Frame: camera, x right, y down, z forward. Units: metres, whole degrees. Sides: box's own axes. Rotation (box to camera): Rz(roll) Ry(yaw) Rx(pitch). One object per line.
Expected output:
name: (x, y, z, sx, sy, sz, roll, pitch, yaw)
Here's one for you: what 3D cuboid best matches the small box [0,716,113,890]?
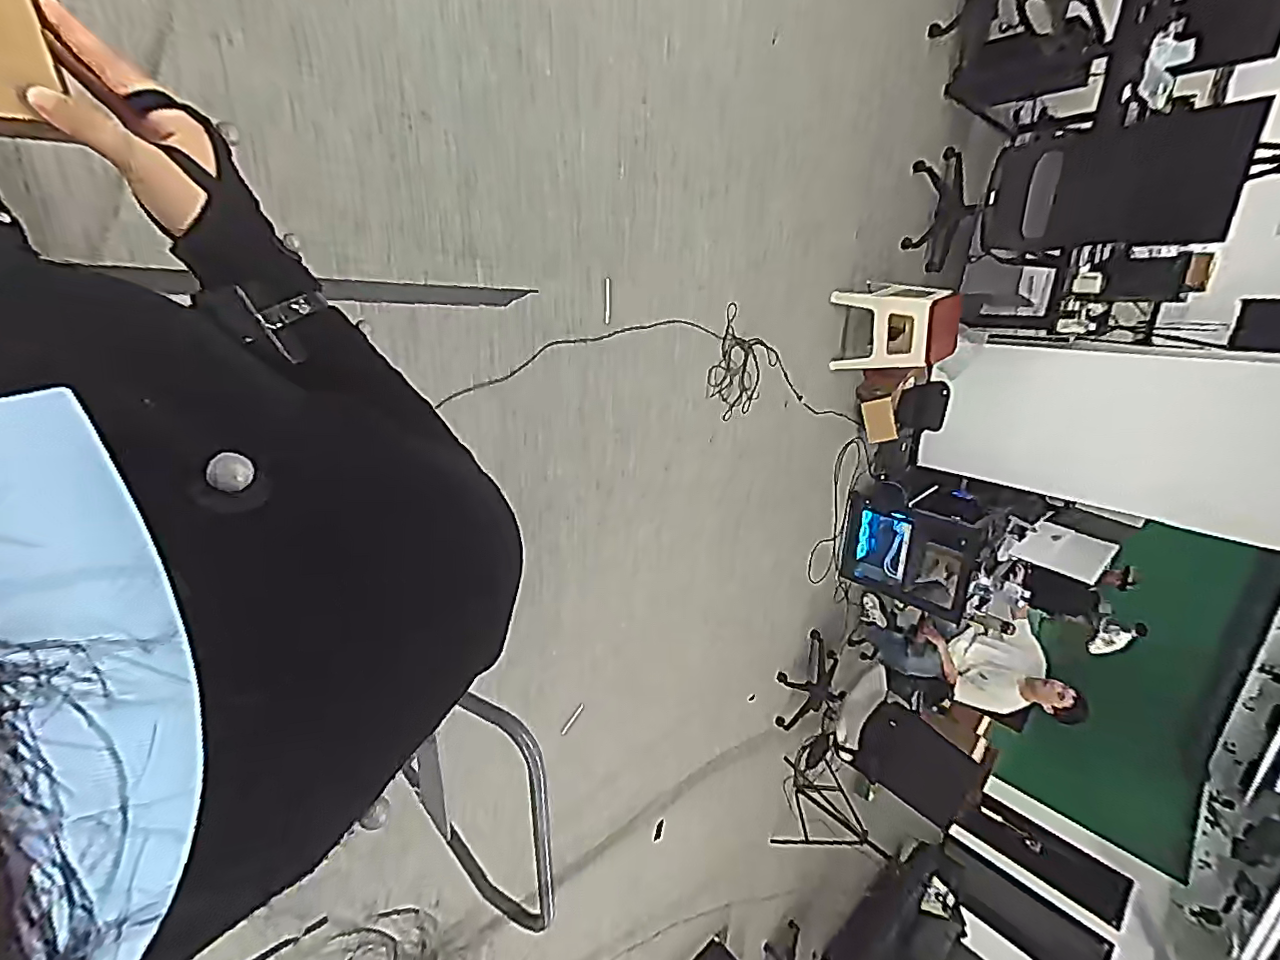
small box: (-1.040, 0.551, 0.934, 0.168, 0.176, 0.179, -11, 112, -42)
